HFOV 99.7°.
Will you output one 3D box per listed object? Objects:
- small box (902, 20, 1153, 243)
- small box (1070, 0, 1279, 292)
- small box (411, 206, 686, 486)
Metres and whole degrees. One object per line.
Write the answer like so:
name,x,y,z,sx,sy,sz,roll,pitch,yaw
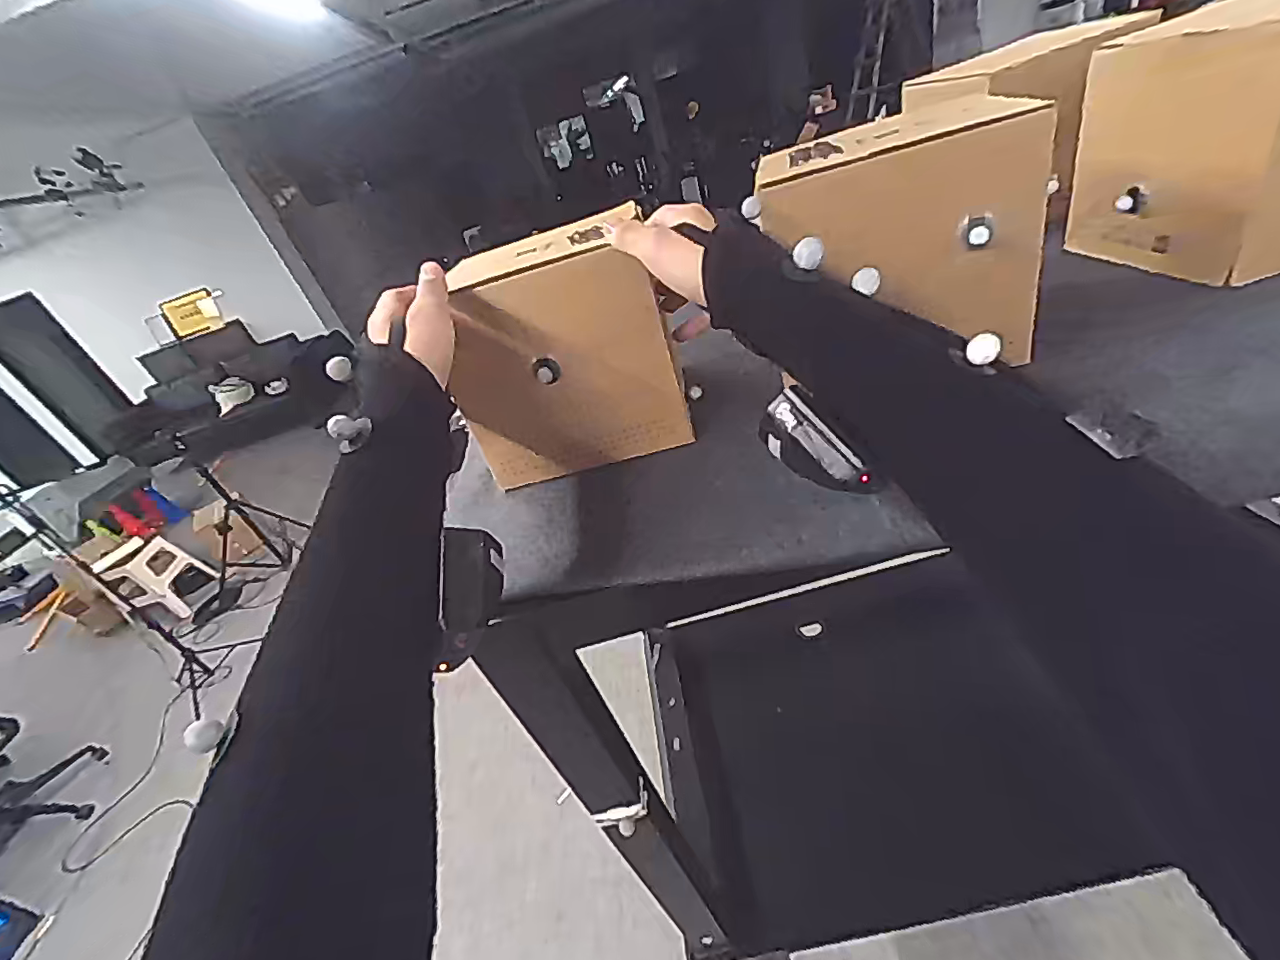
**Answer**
small box,0.429,-0.397,0.636,0.168,0.176,0.179,-17,34,5
small box,0.488,-0.272,0.424,0.179,0.176,0.168,-18,33,5
small box,-0.060,-0.119,0.483,0.179,0.176,0.168,-14,32,8
